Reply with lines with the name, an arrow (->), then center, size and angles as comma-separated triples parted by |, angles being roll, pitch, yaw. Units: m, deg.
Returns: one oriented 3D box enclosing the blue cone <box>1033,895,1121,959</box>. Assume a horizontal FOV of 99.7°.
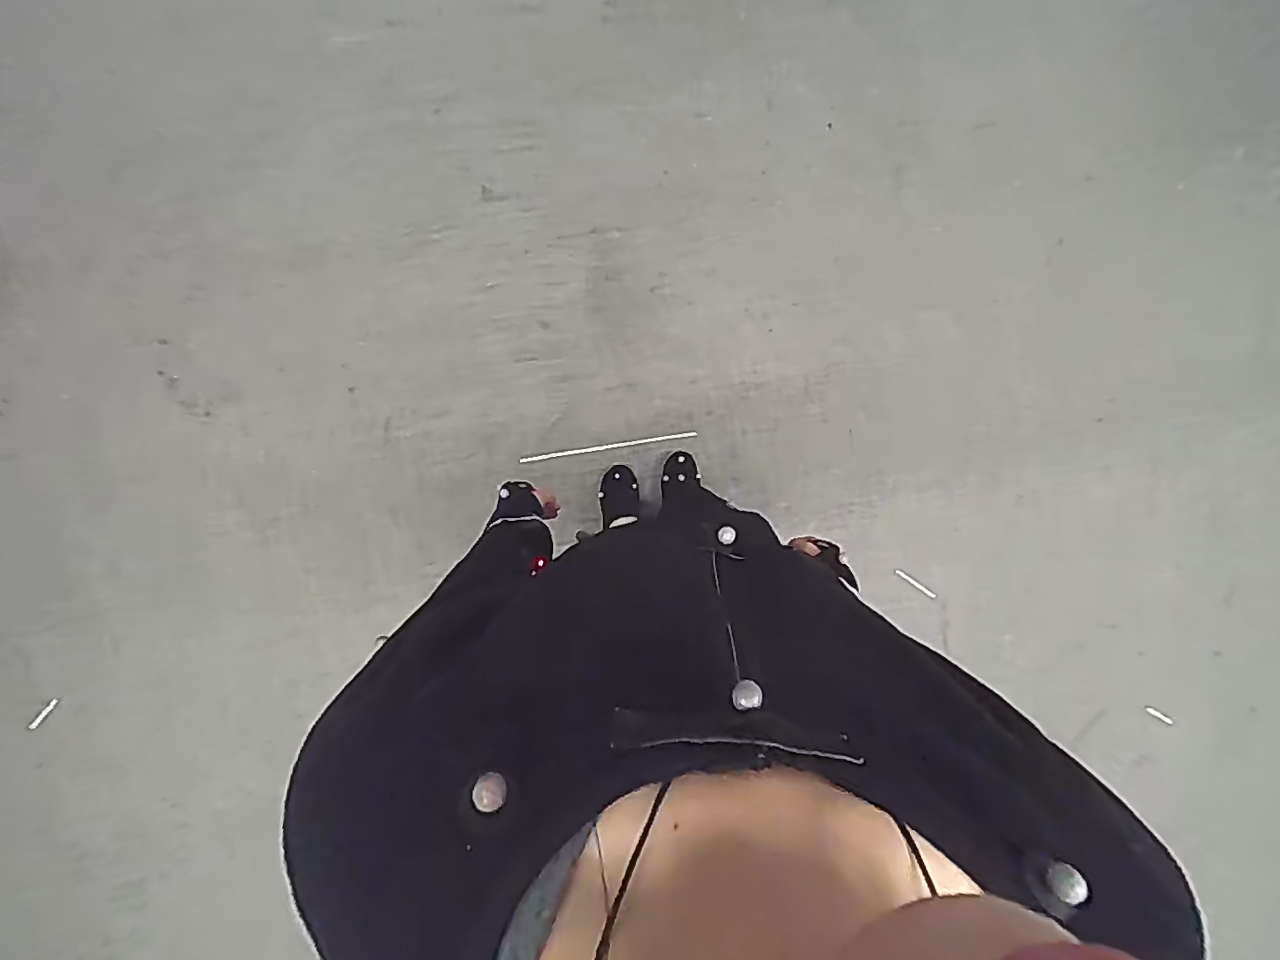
blue cone -> 1.294, 1.354, 1.452 | 0.192, 0.380, 0.193 | 35, 87, -3
